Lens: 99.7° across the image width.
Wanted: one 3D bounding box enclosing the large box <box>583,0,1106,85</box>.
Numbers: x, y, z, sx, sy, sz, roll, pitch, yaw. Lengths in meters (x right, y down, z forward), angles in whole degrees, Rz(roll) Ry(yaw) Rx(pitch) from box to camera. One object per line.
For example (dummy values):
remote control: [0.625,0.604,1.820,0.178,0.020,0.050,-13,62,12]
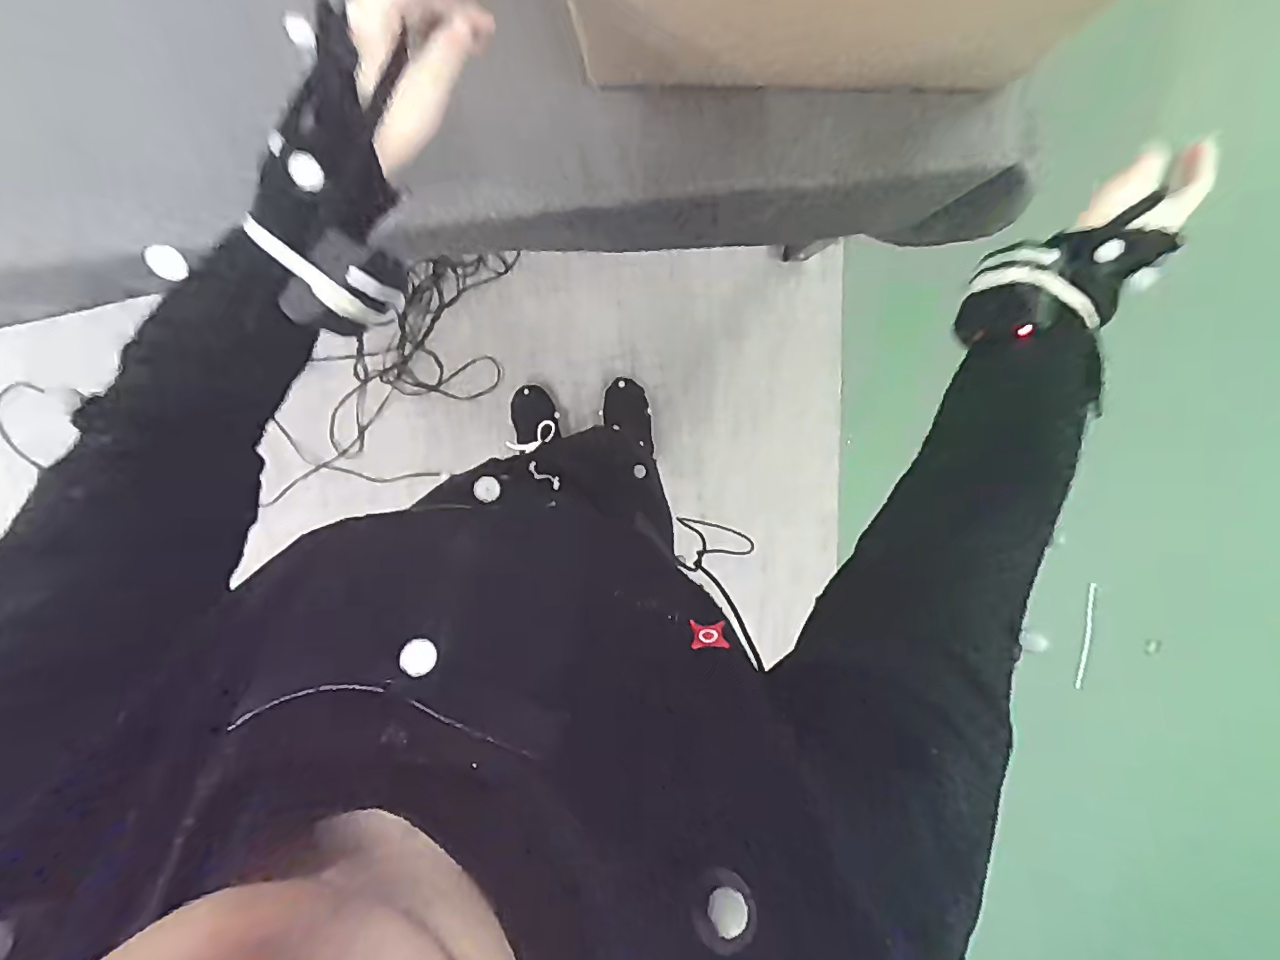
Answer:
large box: [0.153,-0.496,0.343,0.408,0.320,0.320,1,104,0]
